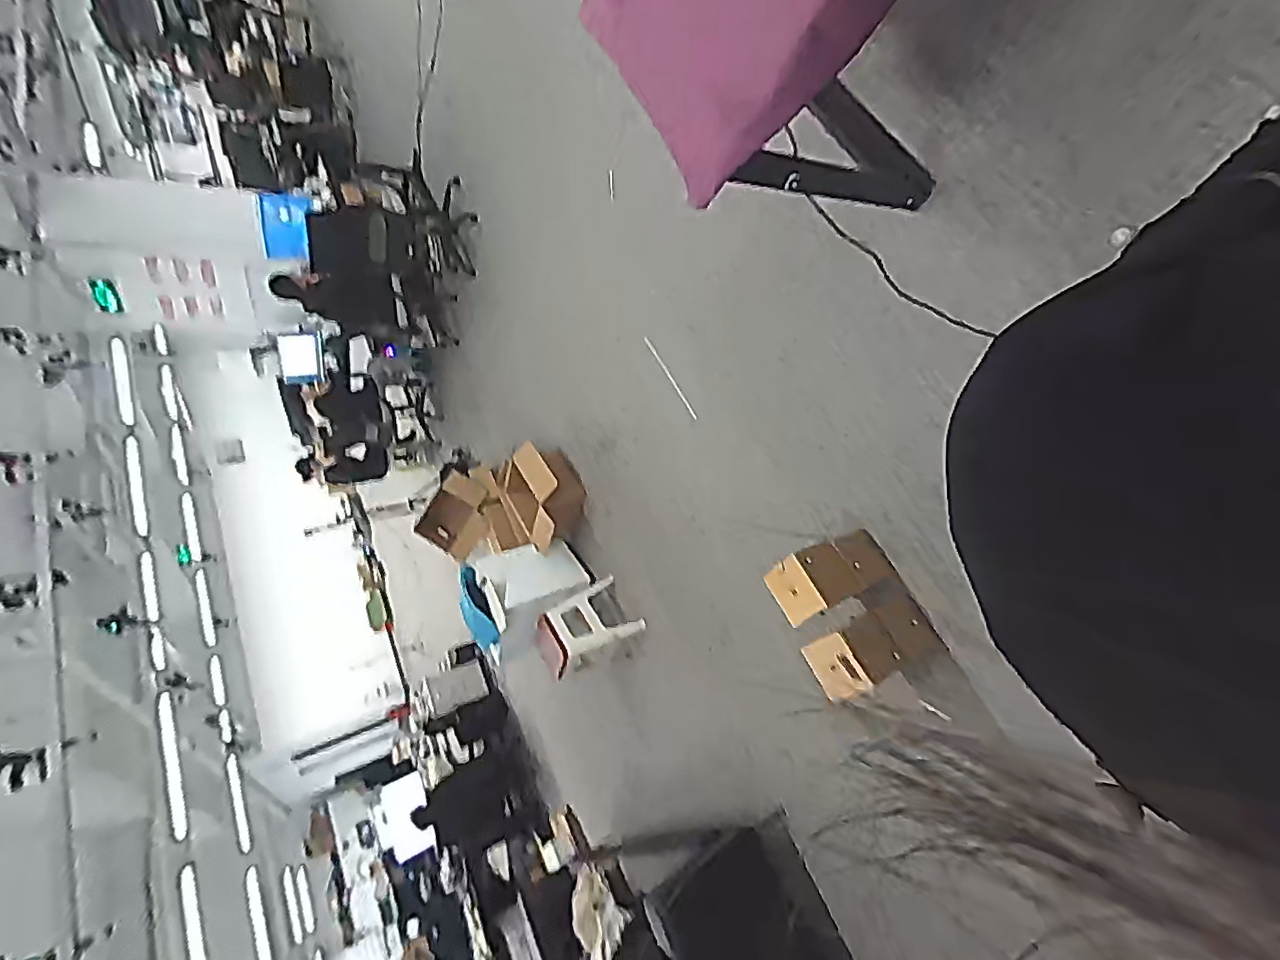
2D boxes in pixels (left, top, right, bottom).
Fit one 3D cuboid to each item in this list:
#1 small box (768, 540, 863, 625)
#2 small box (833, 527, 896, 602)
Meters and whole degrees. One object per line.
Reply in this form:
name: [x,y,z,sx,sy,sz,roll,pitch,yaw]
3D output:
small box: [0.529,0.303,1.625,0.179,0.176,0.168,61,143,23]
small box: [0.665,0.273,1.710,0.168,0.176,0.179,60,144,22]
